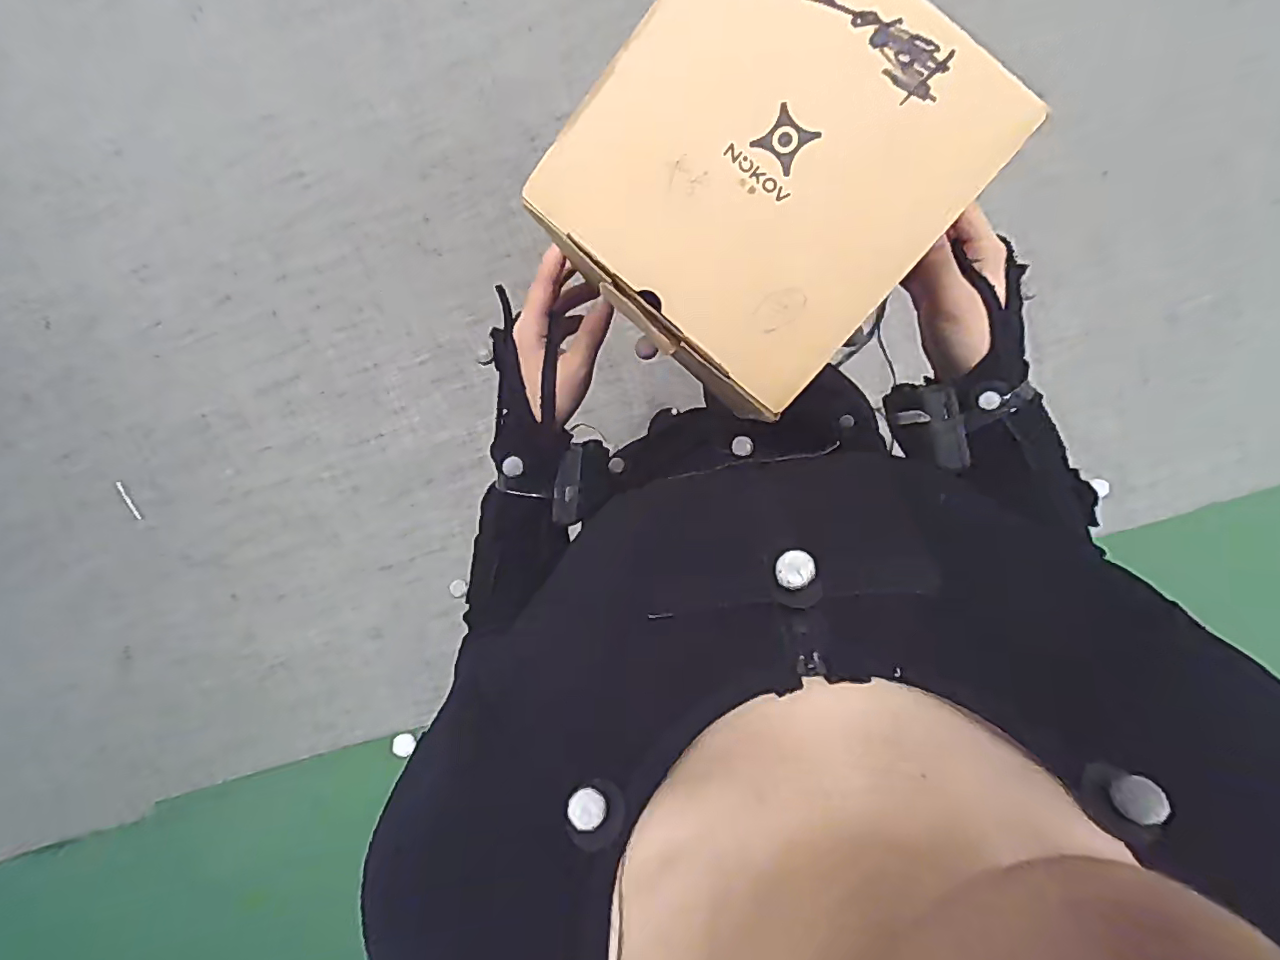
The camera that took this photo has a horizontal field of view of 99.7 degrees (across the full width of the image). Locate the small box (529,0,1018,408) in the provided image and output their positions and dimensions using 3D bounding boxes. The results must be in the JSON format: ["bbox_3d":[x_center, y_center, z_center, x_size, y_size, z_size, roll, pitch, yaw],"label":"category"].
[{"bbox_3d":[0.067,-0.160,0.337,0.168,0.176,0.179,40,99,0],"label":"small box"}]
